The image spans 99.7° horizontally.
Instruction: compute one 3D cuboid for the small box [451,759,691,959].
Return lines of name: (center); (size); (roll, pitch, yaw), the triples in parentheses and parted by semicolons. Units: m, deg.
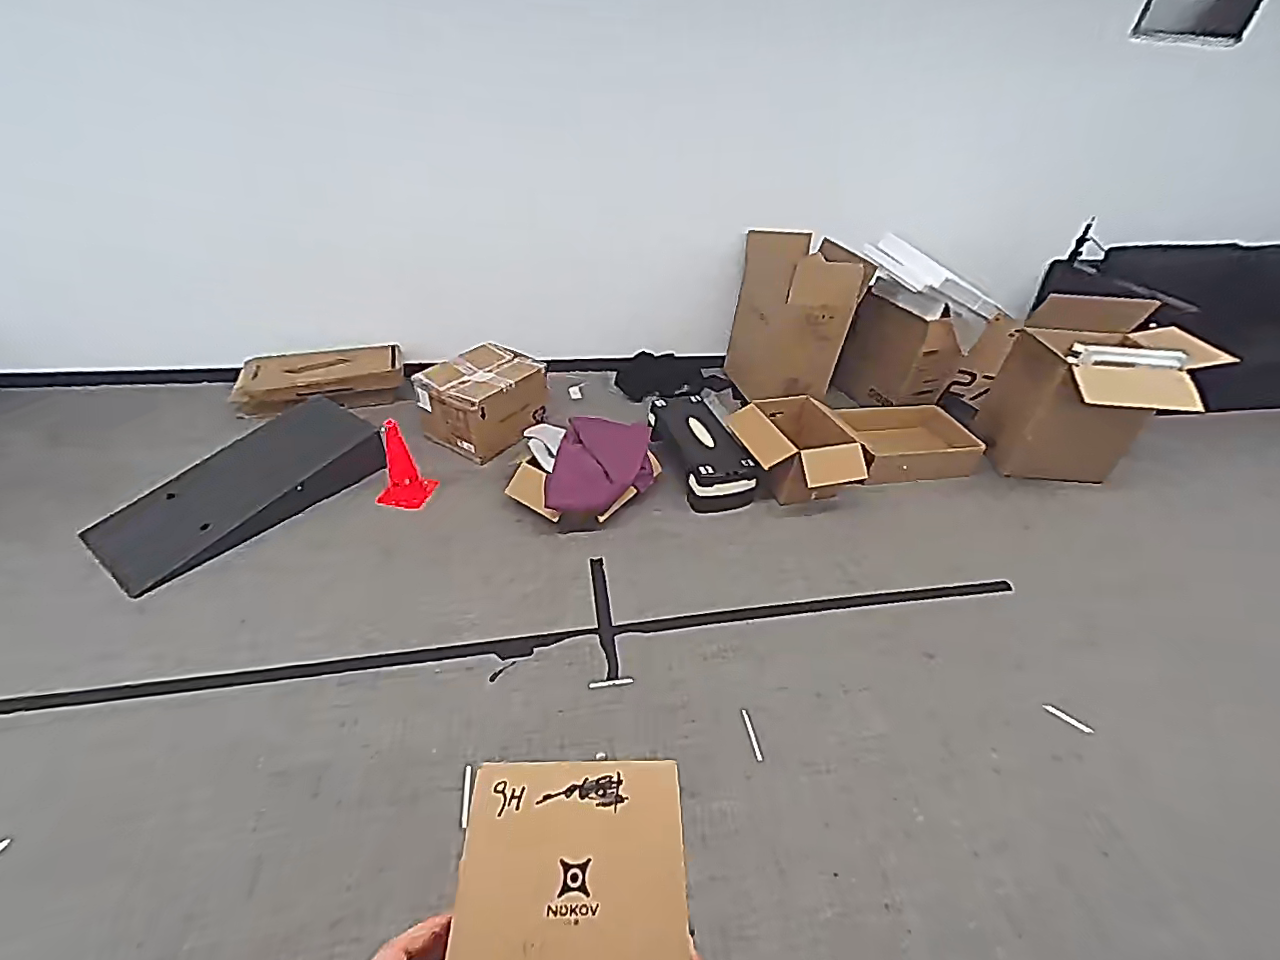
small box: (-0.049, 0.350, 0.449); (0.168, 0.176, 0.179); (0, 47, -3)
